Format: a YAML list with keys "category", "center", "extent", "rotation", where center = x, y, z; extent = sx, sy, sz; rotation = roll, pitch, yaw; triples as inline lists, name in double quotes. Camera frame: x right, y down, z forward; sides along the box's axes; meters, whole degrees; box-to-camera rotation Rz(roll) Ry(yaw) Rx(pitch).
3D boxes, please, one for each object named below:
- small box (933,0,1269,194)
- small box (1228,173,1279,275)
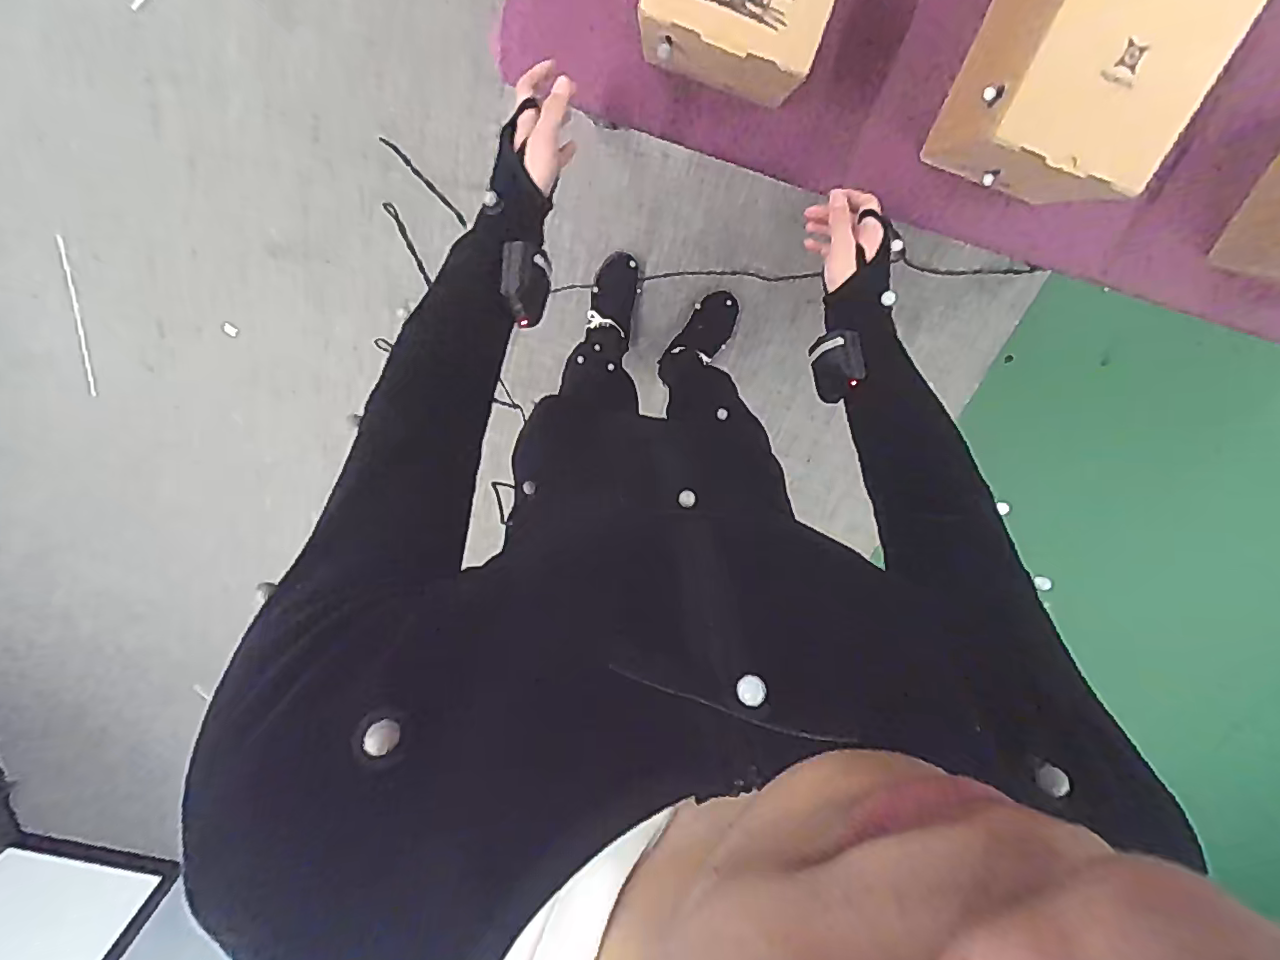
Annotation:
- category: "small box"
  center: [0.439, -0.411, 0.550]
  extent: [0.168, 0.176, 0.179]
  rotation: [17, 117, -5]
- category: "small box"
  center: [0.820, -0.301, 0.575]
  extent: [0.168, 0.176, 0.179]
  rotation: [15, 118, -2]
